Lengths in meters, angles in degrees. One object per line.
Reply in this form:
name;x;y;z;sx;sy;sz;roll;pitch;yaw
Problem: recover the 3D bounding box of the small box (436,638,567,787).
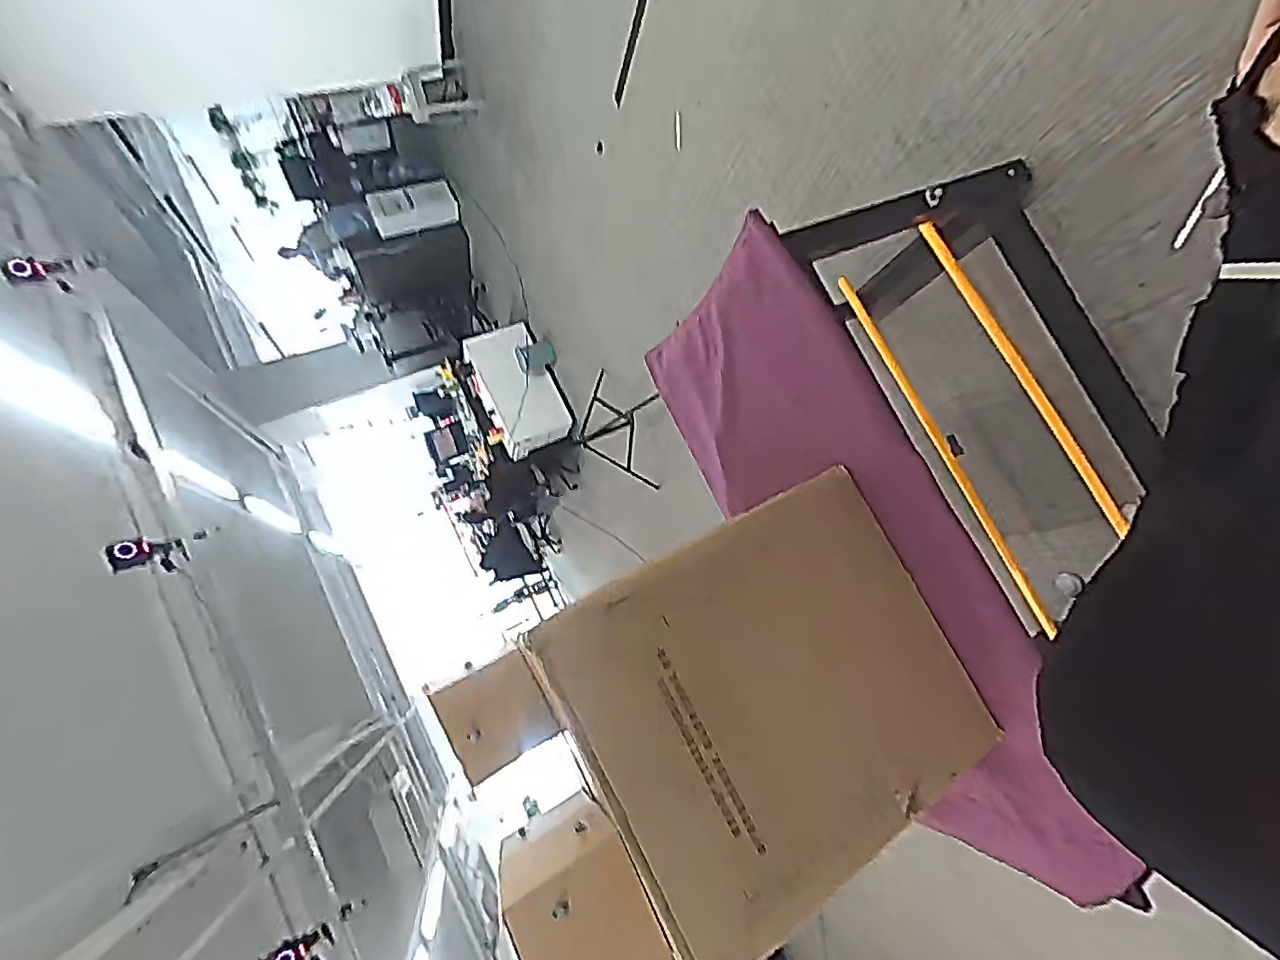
small box;-0.256;0.412;0.996;0.179;0.176;0.168;62;160;2
